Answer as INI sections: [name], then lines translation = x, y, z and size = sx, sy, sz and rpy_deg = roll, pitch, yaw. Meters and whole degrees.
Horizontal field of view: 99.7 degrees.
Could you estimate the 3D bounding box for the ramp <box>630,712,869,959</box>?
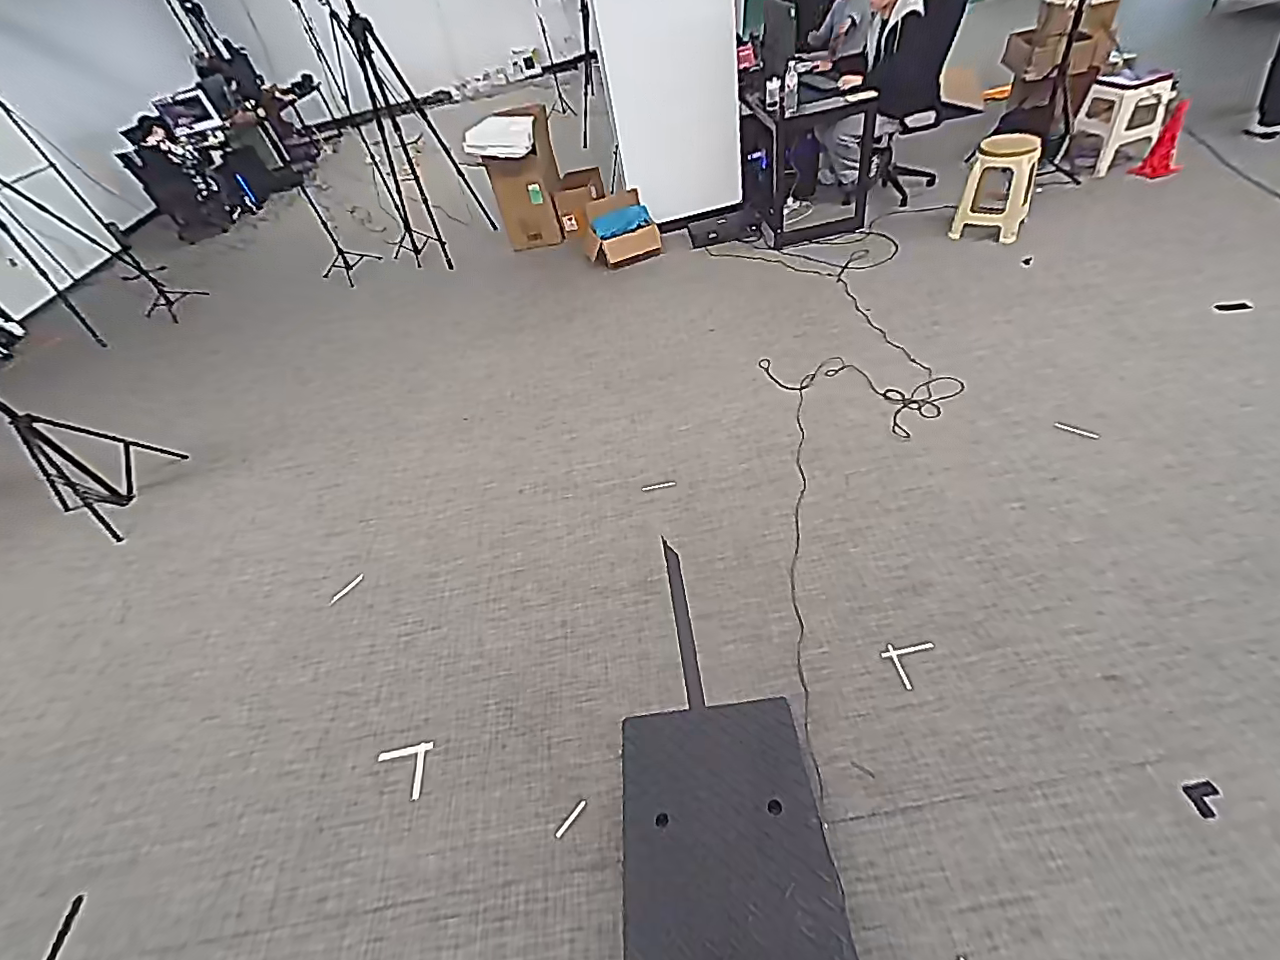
[ramp]
translation = 0.226, 0.996, 1.171
size = 0.509, 0.206, 0.991
rpy_deg = -13, 43, 4
